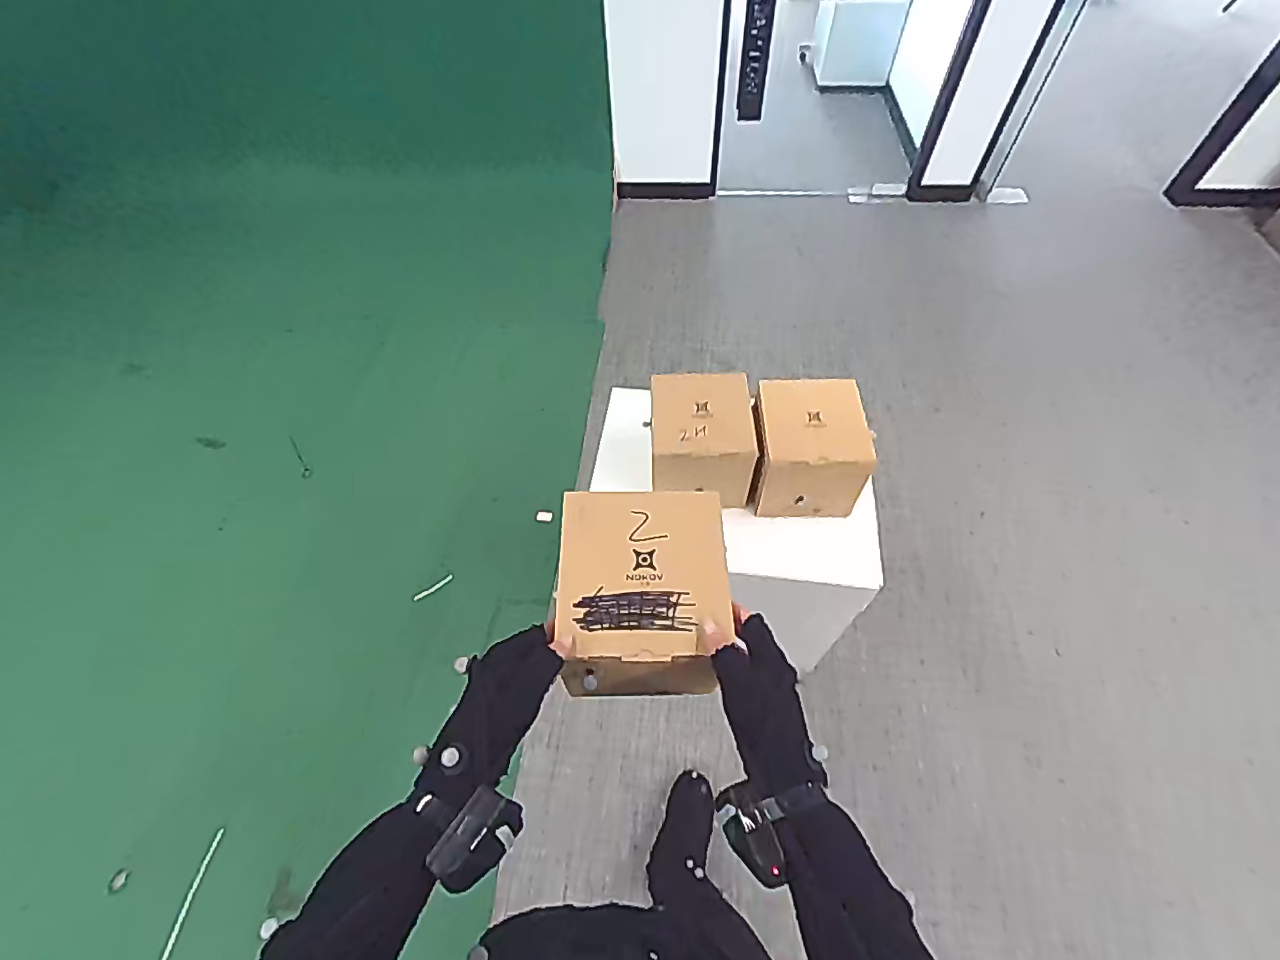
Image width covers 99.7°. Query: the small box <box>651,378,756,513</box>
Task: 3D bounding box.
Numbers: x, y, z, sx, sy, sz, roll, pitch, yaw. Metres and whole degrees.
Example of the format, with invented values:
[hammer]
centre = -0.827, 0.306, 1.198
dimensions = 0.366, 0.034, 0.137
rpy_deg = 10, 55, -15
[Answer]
[small box]
centre = 0.102, -0.059, 0.951
dimensions = 0.168, 0.176, 0.179
rpy_deg = -1, 55, 2
